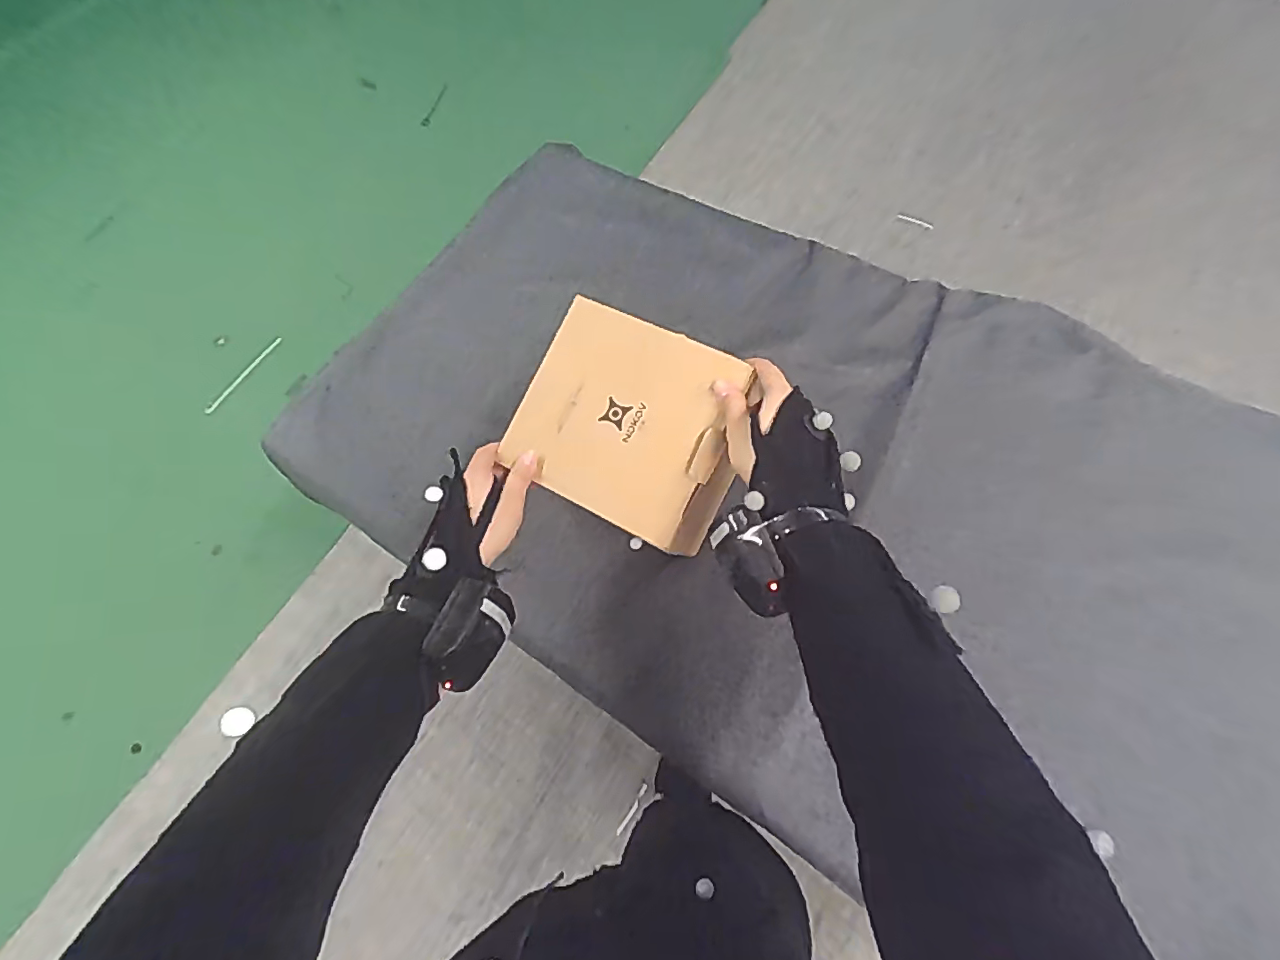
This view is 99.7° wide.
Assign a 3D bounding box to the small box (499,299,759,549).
[{"bbox_3d":[0.004,-0.041,0.531,0.179,0.176,0.168,25,85,16],"label":"small box"}]
